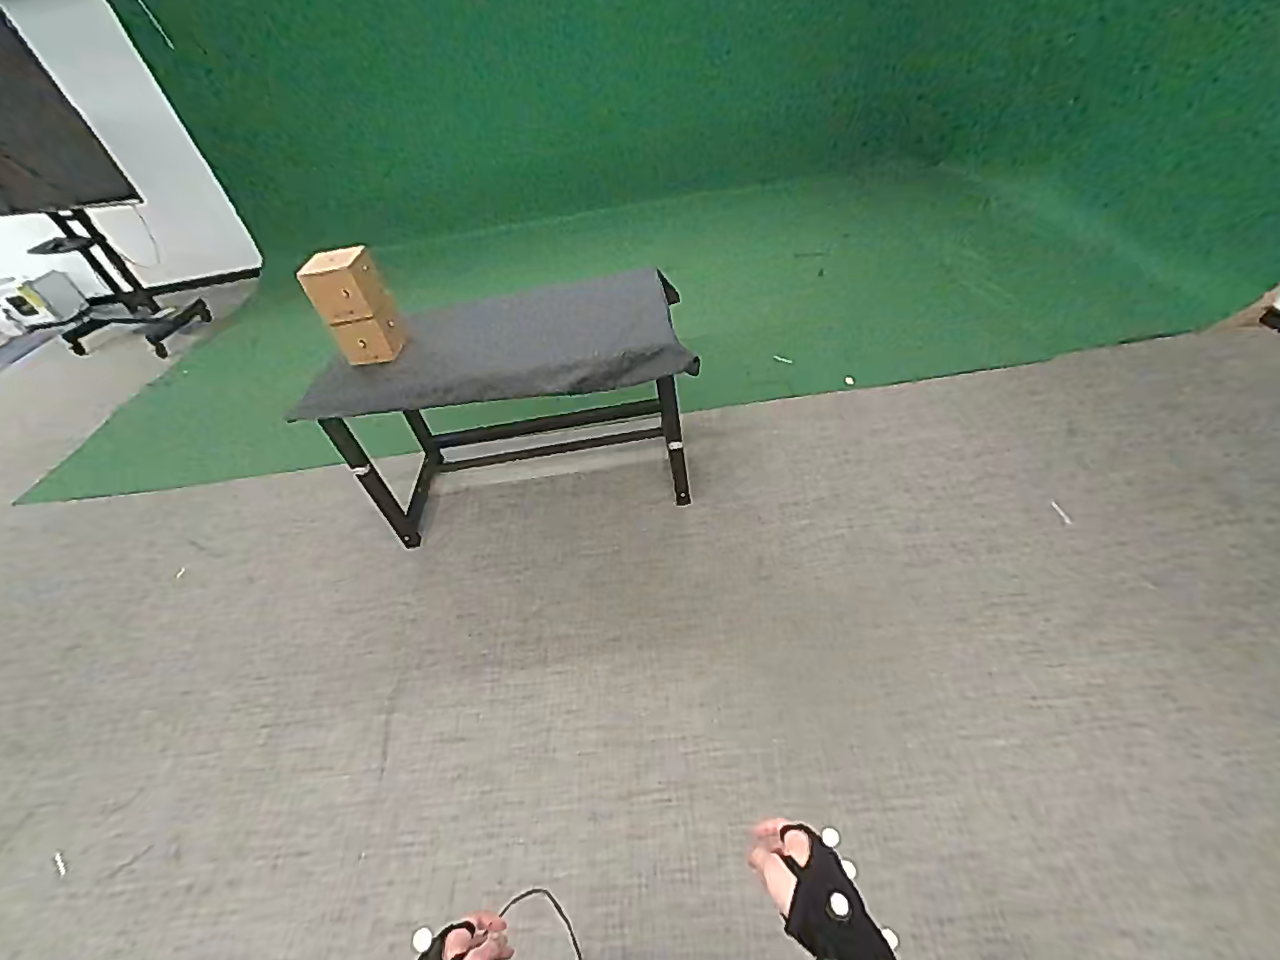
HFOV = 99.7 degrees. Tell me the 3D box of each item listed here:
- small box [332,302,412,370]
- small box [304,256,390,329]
[{"bbox_3d":[-0.922,-0.495,1.881,0.168,0.176,0.179,-7,43,4],"label":"small box"},{"bbox_3d":[-0.943,-0.604,1.761,0.168,0.176,0.179,-8,42,2],"label":"small box"}]
